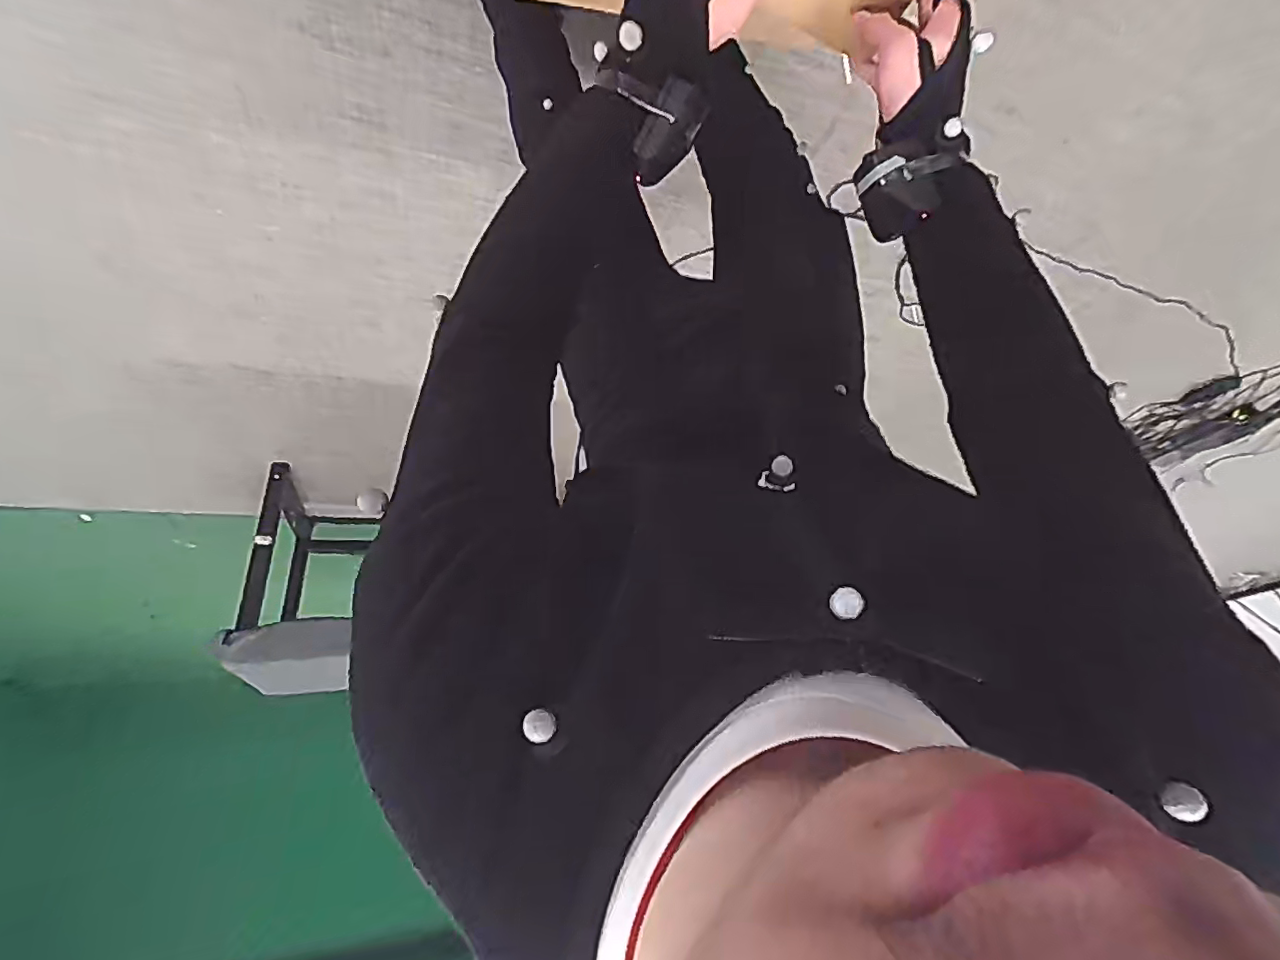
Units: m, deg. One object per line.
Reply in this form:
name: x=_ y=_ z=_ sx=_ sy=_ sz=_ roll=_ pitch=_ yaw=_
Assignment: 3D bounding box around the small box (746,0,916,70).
small box: x=0.144 y=-0.476 z=0.415 sx=0.179 sy=0.176 sz=0.168 roll=5 pitch=147 yaw=-27
